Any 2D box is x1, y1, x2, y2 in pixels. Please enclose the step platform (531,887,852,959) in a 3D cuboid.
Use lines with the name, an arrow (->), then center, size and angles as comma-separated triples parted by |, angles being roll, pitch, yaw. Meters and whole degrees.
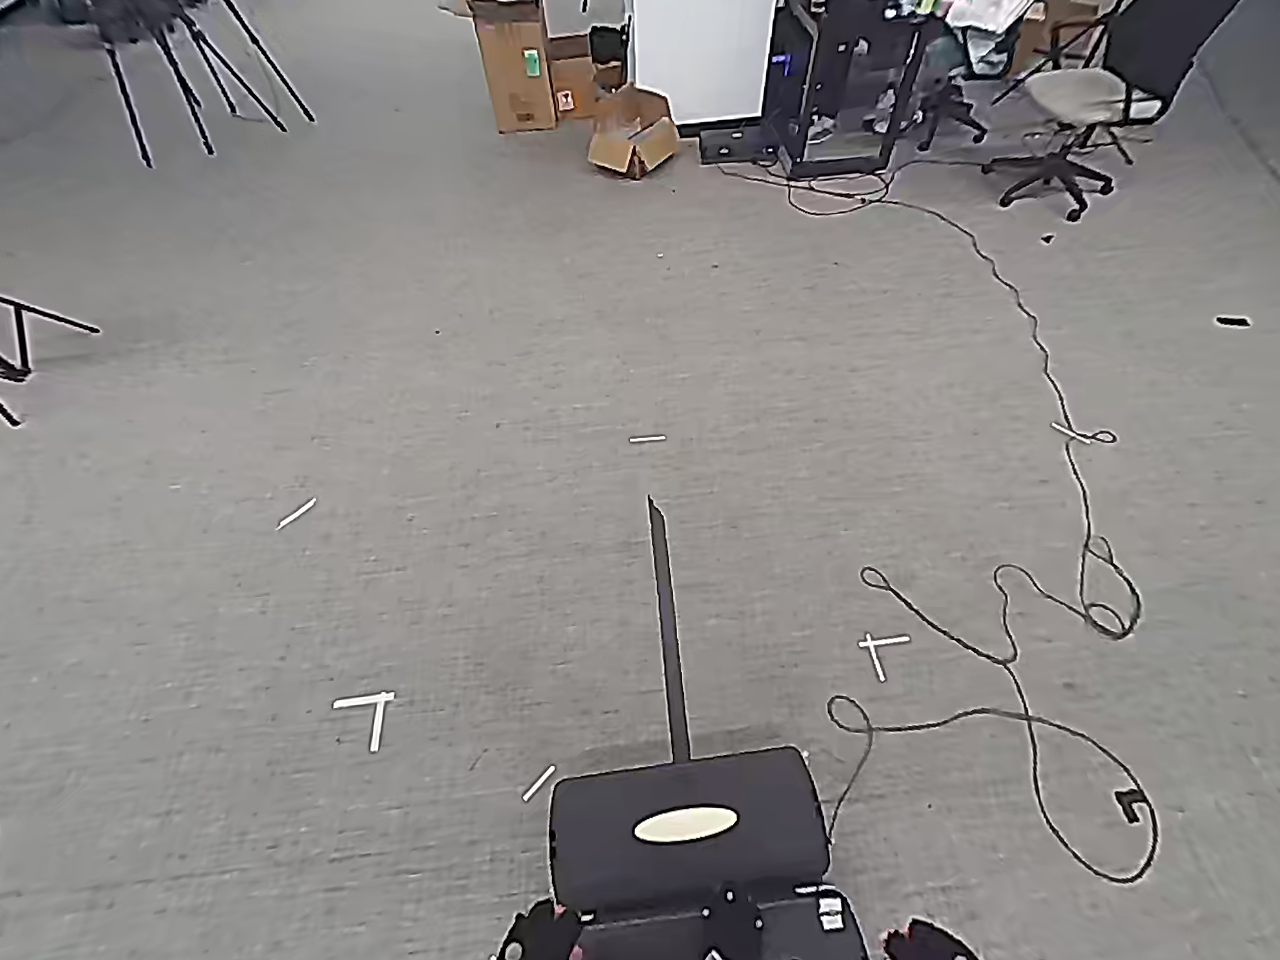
step platform -> 0.108, 1.074, 1.135 | 0.684, 0.204, 0.286 | -7, 55, -1
